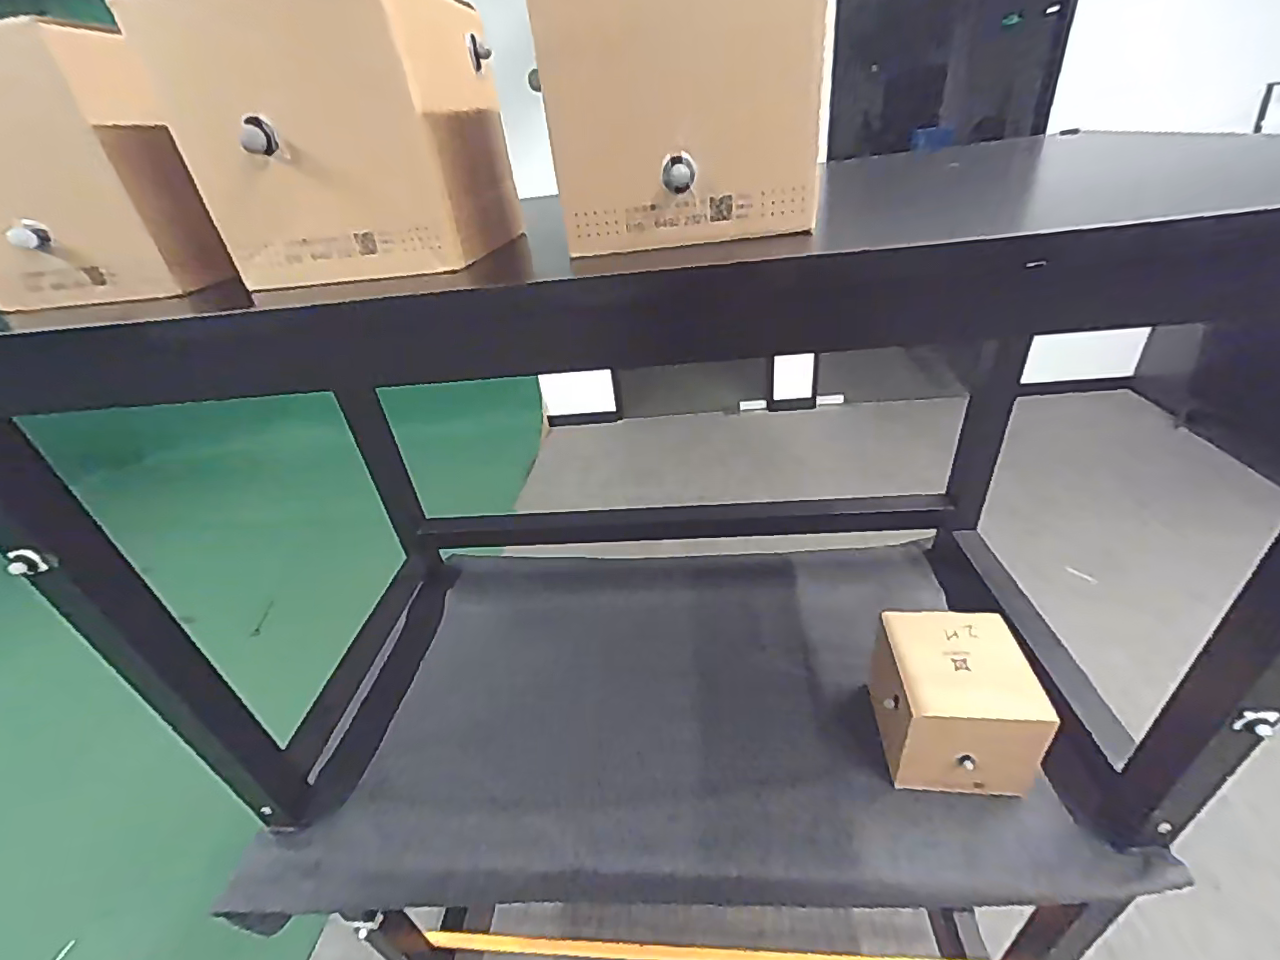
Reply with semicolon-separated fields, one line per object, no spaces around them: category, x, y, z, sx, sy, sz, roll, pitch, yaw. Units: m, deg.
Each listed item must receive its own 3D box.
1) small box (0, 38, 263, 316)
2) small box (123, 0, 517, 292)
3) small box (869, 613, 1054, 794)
small box;-0.431;-0.248;0.458;0.168;0.176;0.179;-3;33;8
small box;-0.209;-0.249;0.419;0.168;0.176;0.179;-3;32;8
small box;0.433;0.312;0.762;0.168;0.176;0.179;-1;32;10
